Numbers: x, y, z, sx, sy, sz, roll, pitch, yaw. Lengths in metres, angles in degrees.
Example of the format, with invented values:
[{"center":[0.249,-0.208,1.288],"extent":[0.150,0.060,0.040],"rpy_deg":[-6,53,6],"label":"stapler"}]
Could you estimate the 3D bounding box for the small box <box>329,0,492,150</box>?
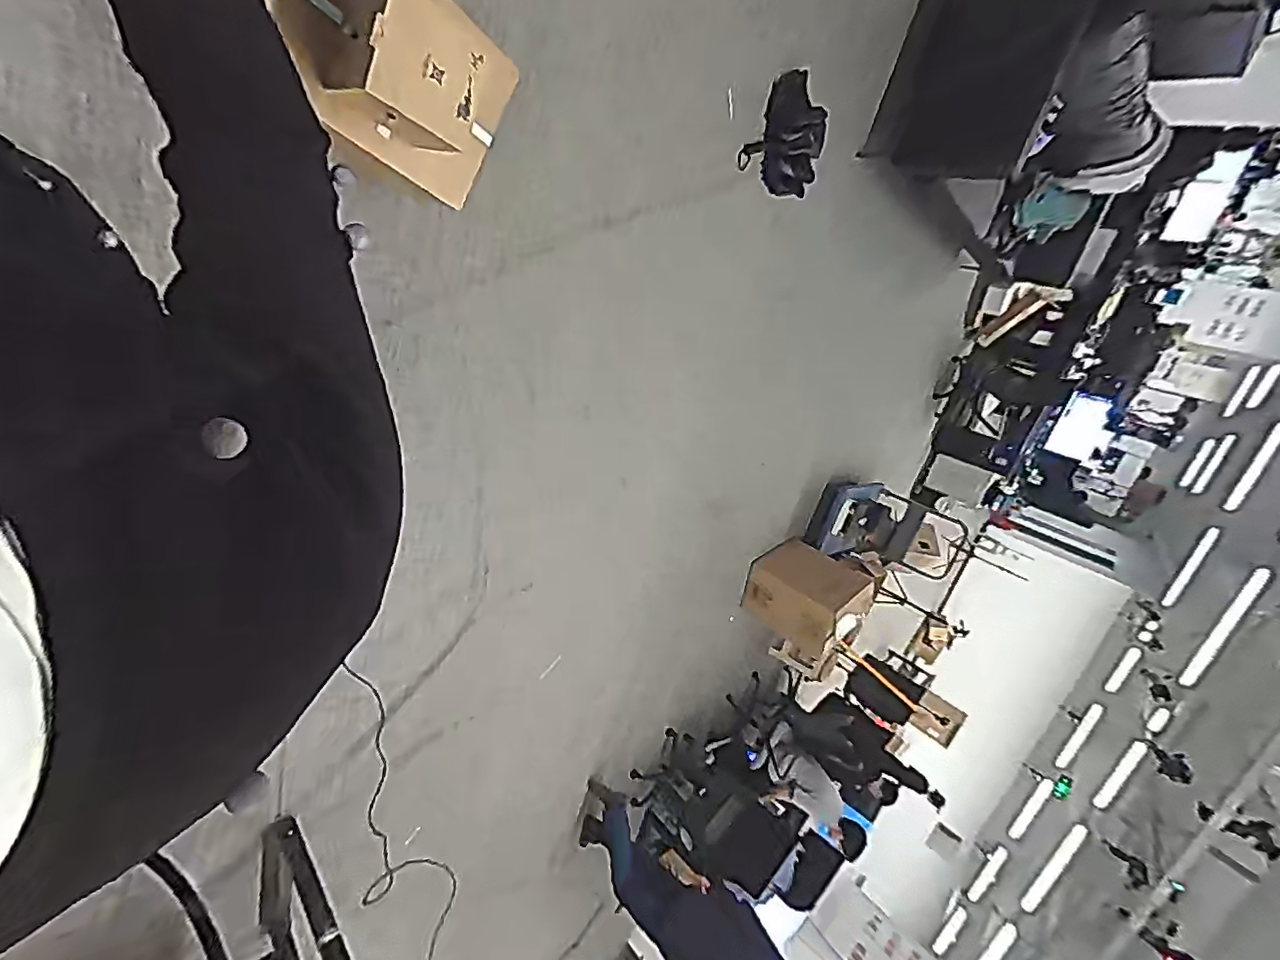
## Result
[{"center":[-0.383,-0.676,0.892],"extent":[0.179,0.176,0.168],"rpy_deg":[8,108,-50],"label":"small box"}]
